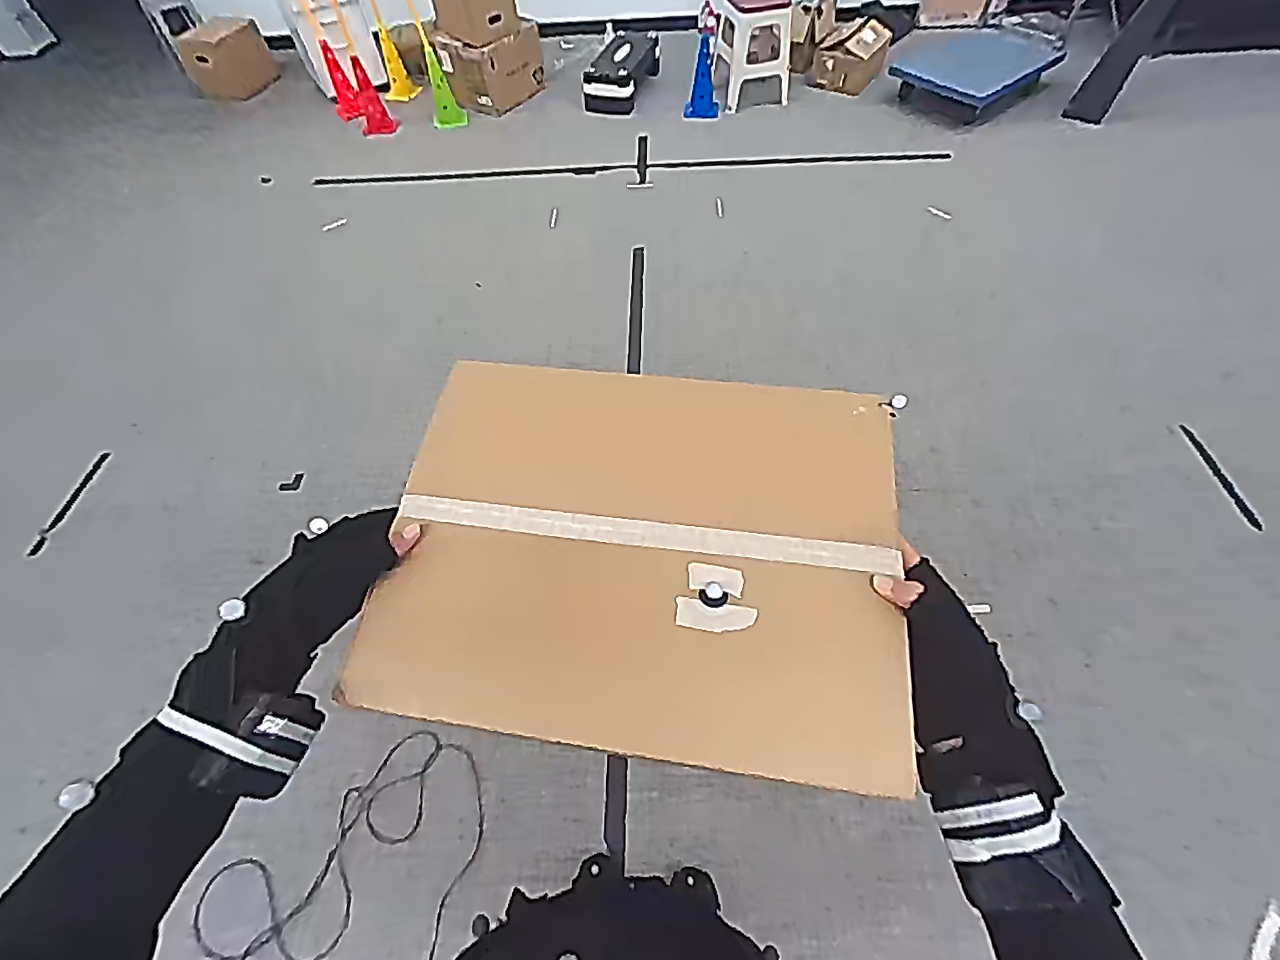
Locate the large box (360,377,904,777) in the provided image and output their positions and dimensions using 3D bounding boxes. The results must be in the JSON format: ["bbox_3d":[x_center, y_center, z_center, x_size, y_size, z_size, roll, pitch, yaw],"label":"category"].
[{"bbox_3d":[0.010,0.117,0.584,0.408,0.320,0.320,6,64,7],"label":"large box"}]
